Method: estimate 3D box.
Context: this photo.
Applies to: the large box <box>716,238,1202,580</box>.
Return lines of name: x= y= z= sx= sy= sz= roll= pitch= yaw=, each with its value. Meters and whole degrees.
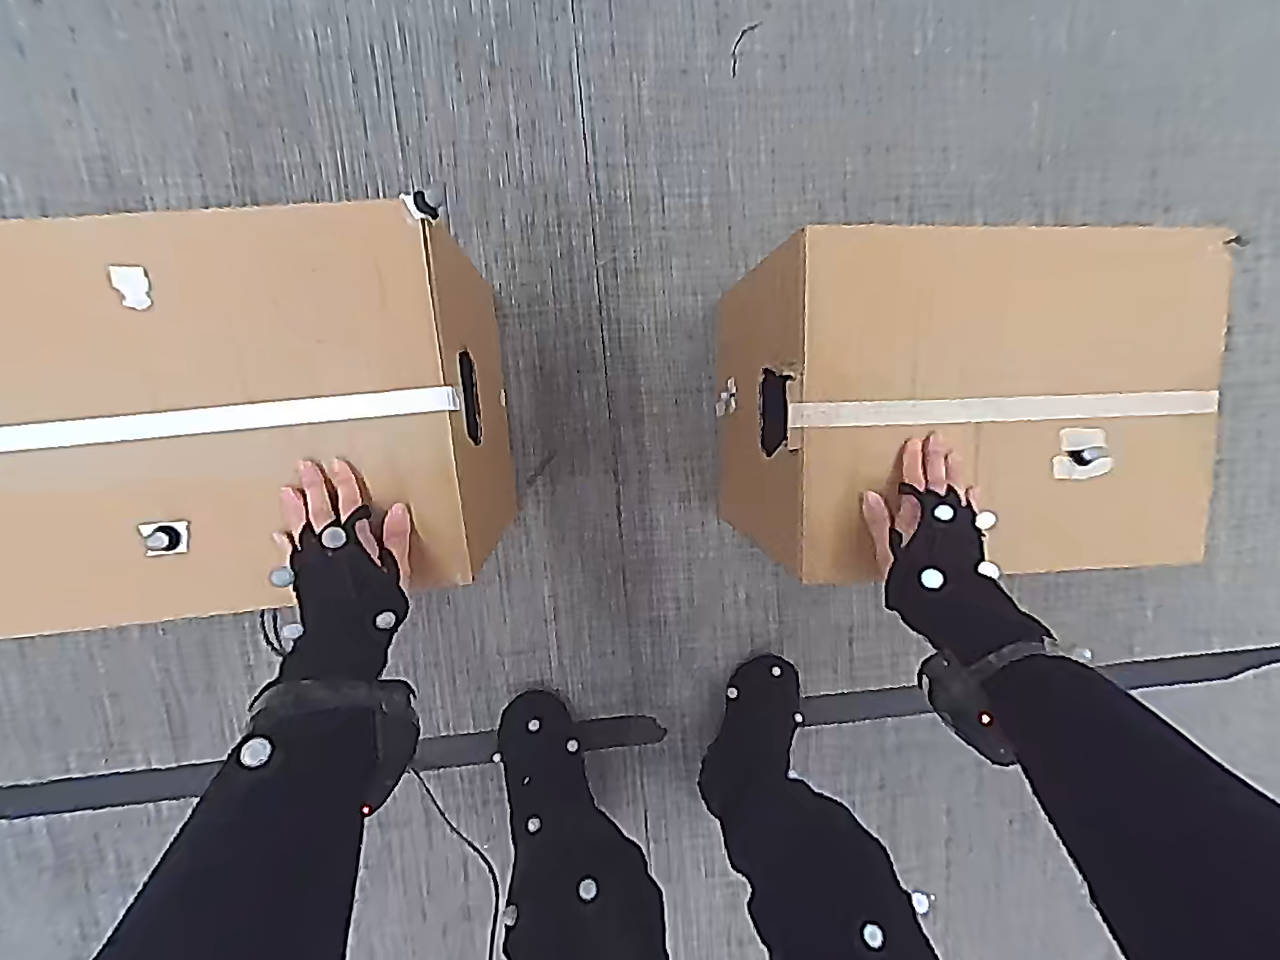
large box: x=0.325 y=-0.084 z=0.657 sx=0.408 sy=0.320 sz=0.320 roll=-2 pitch=98 yaw=-6
